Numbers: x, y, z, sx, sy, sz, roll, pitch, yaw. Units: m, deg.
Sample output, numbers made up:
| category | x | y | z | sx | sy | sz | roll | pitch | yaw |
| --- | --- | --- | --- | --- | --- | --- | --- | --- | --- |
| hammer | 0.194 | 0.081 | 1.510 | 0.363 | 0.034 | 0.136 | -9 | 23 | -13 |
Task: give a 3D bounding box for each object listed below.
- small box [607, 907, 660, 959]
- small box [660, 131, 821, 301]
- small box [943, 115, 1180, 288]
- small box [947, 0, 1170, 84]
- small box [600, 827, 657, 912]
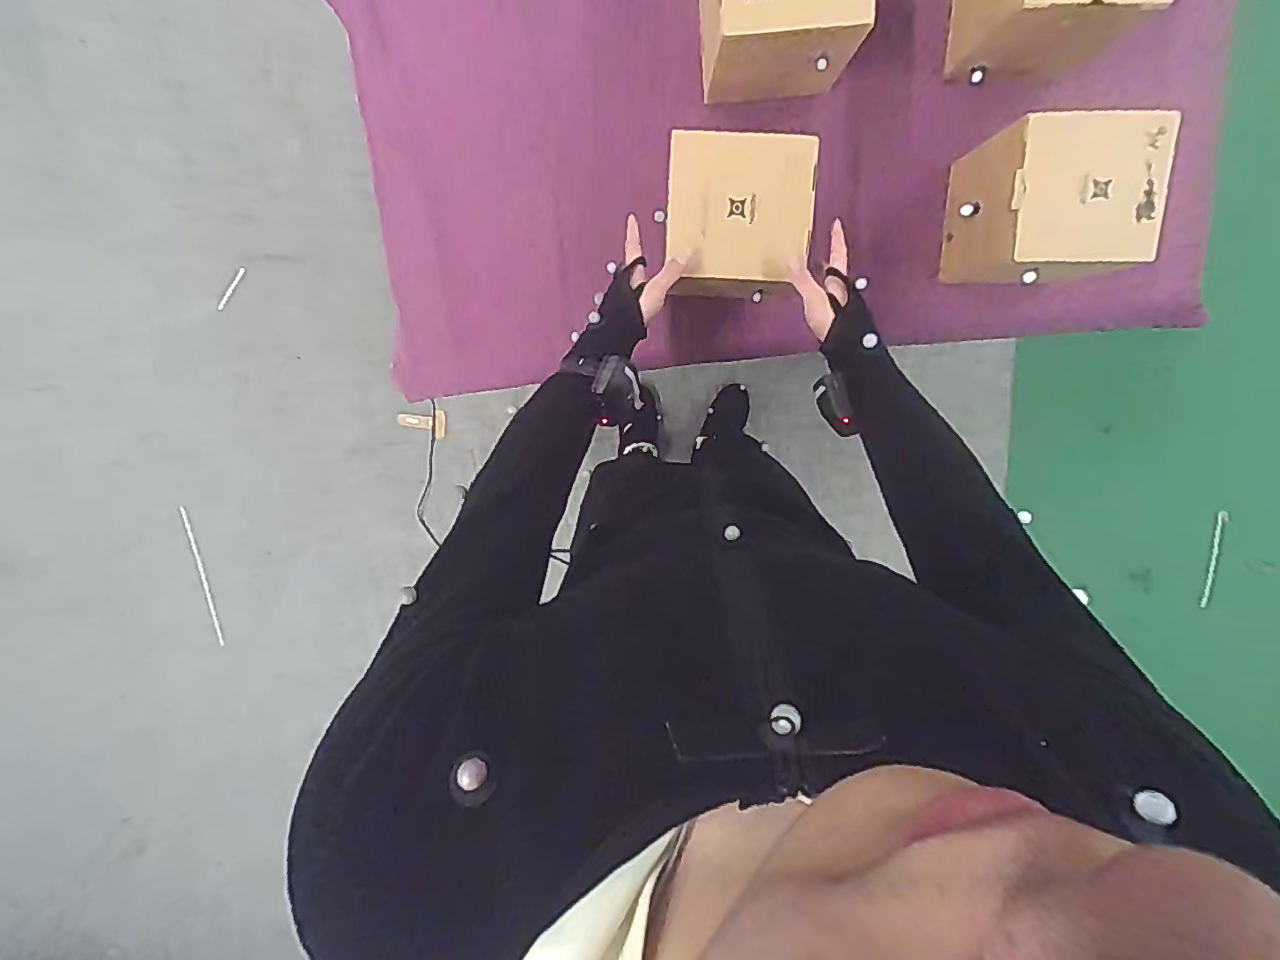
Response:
| category | x | y | z | sx | sy | sz | roll | pitch | yaw |
| --- | --- | --- | --- | --- | --- | --- | --- | --- | --- |
| small box | -0.019 | 1.624 | 1.889 | 0.179 | 0.176 | 0.168 | -4 | 102 | 2 |
| small box | 0.121 | -0.337 | 0.722 | 0.179 | 0.176 | 0.168 | 4 | 101 | 1 |
| small box | 0.530 | -0.351 | 0.711 | 0.179 | 0.176 | 0.168 | 1 | 101 | 2 |
| small box | 0.503 | -0.615 | 0.655 | 0.168 | 0.176 | 0.179 | 1 | 102 | 0 |
| small box | -0.036 | 1.306 | 1.823 | 0.179 | 0.176 | 0.168 | -5 | 103 | 3 |
